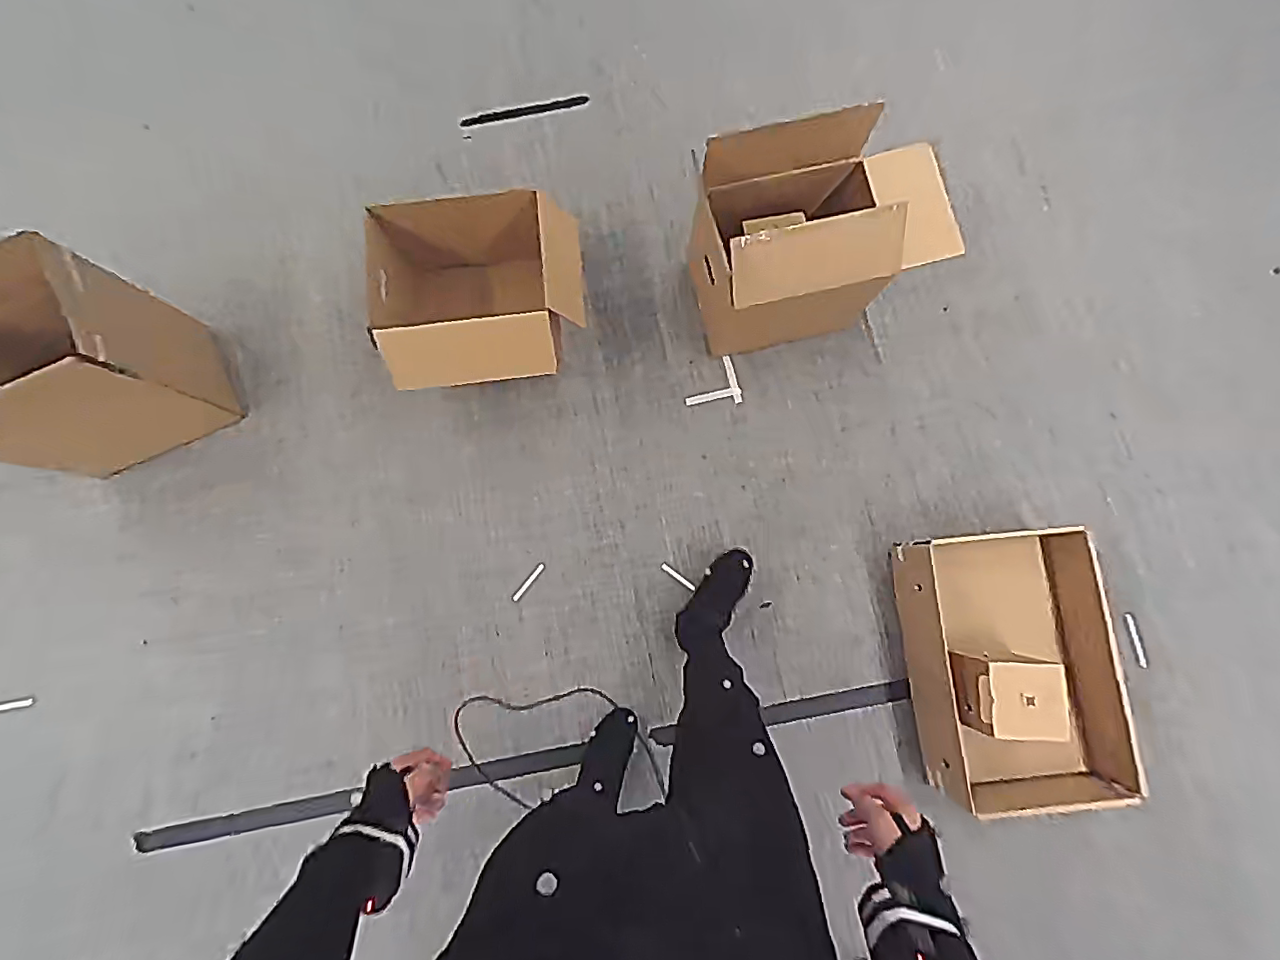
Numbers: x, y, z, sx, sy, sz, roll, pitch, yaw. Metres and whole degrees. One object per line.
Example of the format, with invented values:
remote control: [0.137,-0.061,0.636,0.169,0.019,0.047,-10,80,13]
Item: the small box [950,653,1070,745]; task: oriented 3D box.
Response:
small box: [0.854,0.506,1.268,0.179,0.176,0.168,3,81,0]
